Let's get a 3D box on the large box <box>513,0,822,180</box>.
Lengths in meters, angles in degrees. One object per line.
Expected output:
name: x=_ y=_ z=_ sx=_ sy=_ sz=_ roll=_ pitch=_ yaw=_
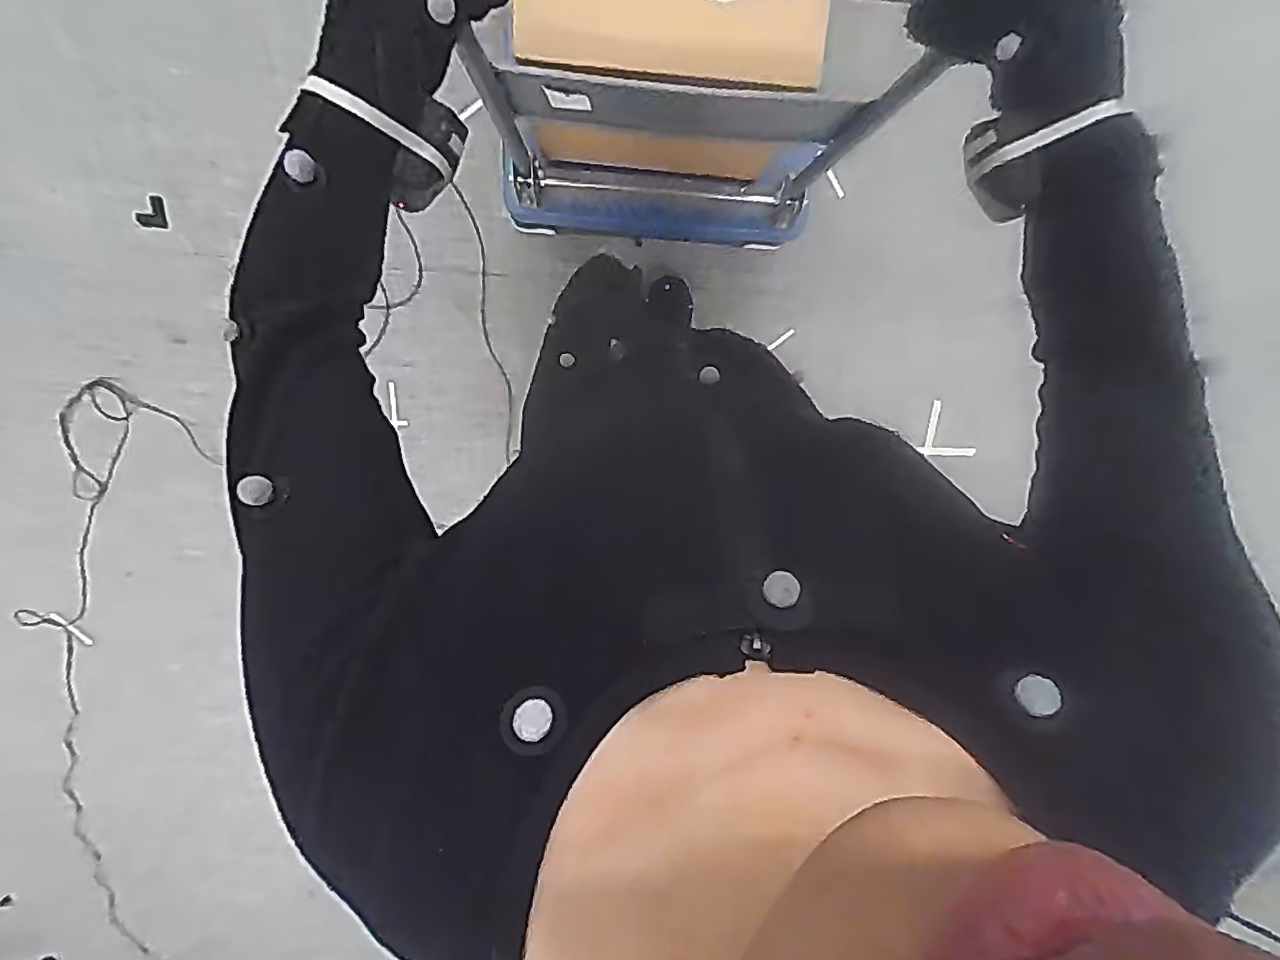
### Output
large box: x=0.030 y=-0.693 z=0.828 sx=0.408 sy=0.320 sz=0.320 roll=3 pitch=99 yaw=-4
